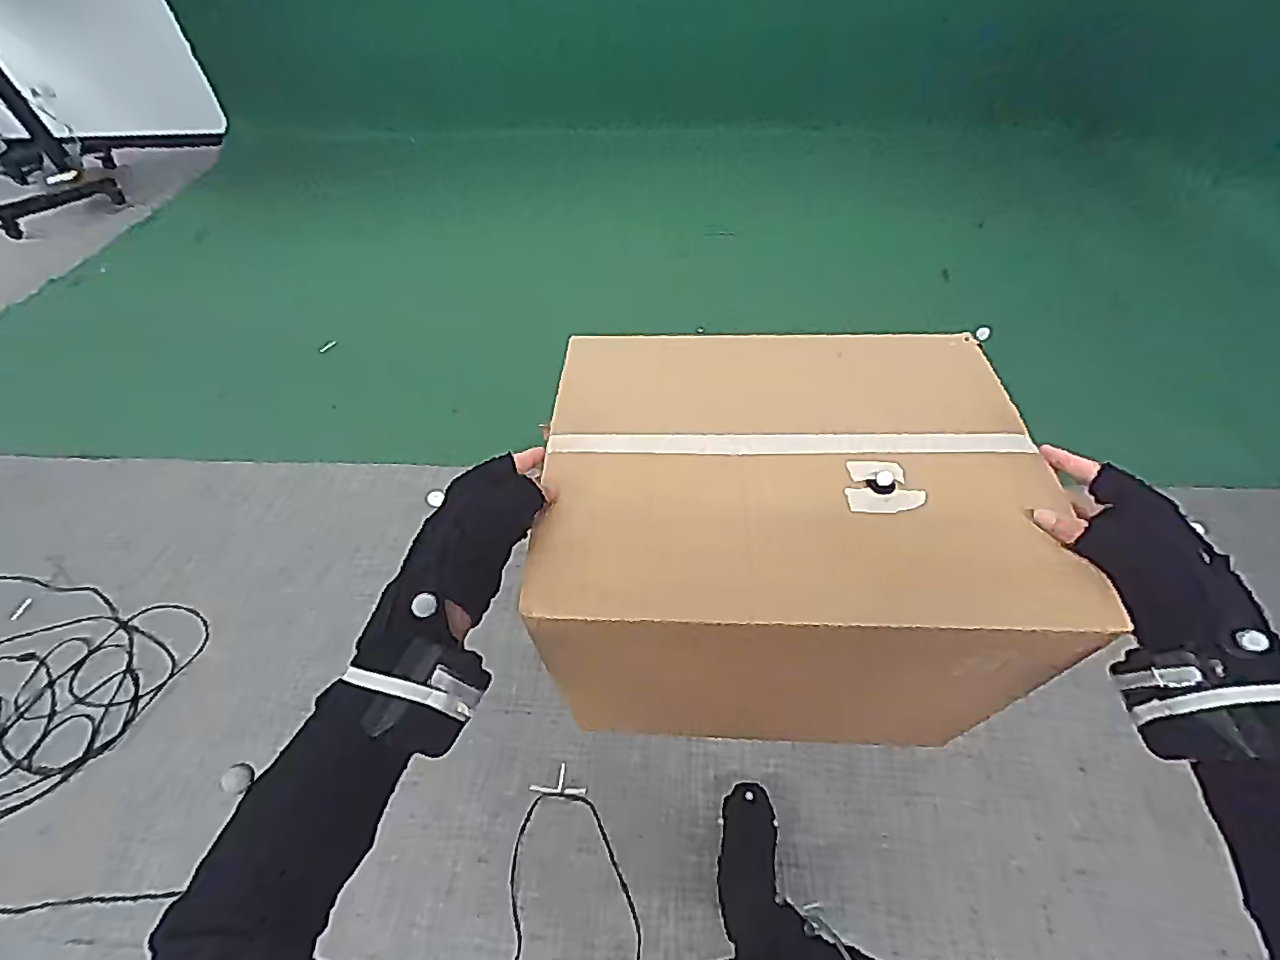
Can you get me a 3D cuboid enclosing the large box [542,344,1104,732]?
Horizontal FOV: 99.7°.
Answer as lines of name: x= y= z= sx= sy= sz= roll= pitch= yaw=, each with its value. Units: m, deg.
large box: x=0.132 y=0.071 z=0.588 sx=0.408 sy=0.320 sz=0.320 roll=1 pitch=52 yaw=3
